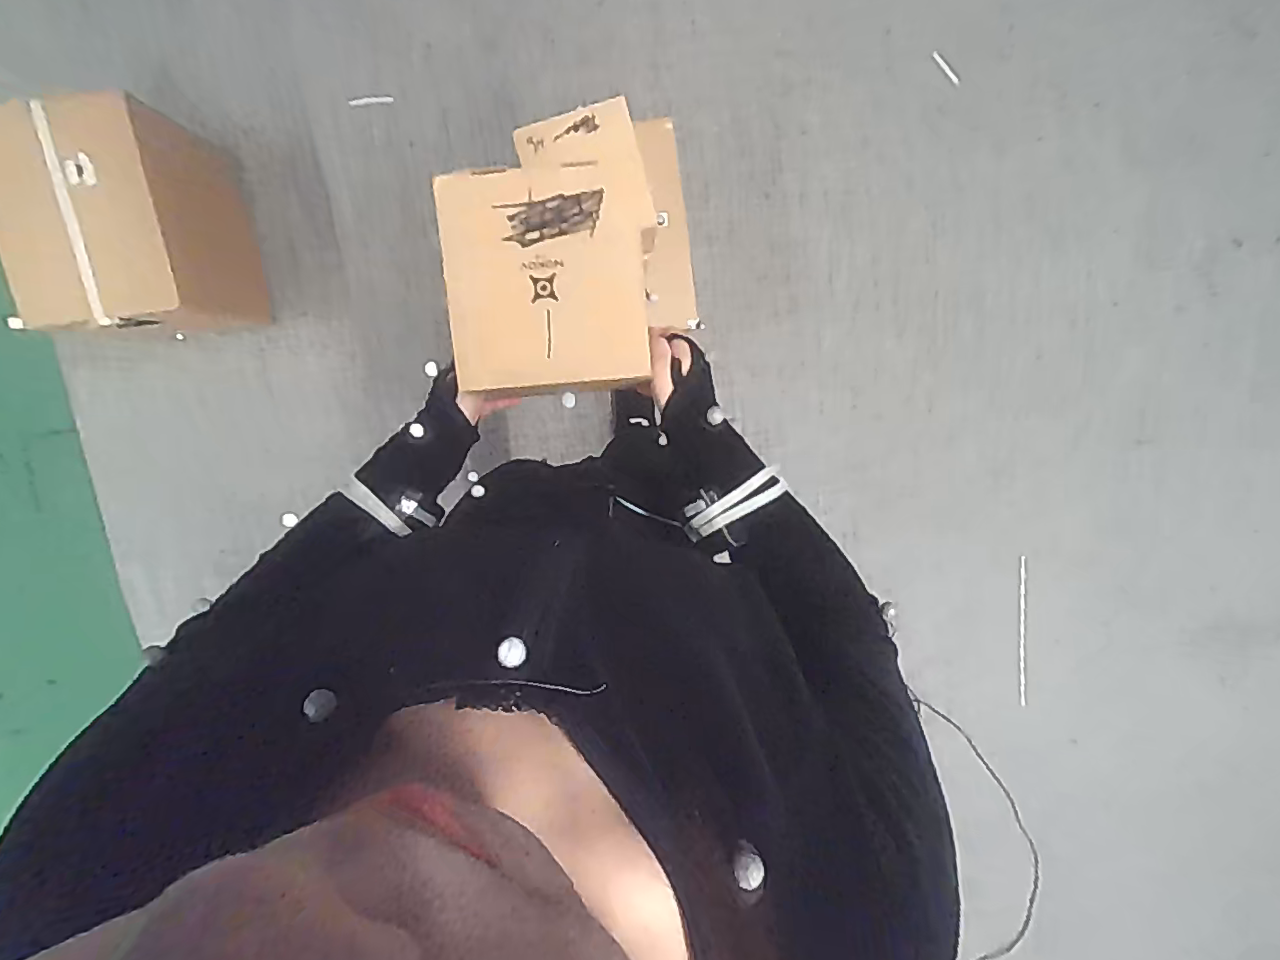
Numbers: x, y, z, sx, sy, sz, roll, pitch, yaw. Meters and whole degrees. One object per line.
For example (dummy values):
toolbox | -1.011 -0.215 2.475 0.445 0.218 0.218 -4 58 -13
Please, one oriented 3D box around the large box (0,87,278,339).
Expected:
large box | -1.086 -0.546 1.191 0.320 0.320 0.408 -8 99 -1

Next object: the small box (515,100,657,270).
small box | -0.074 -0.439 0.841 0.168 0.176 0.179 -16 101 2
